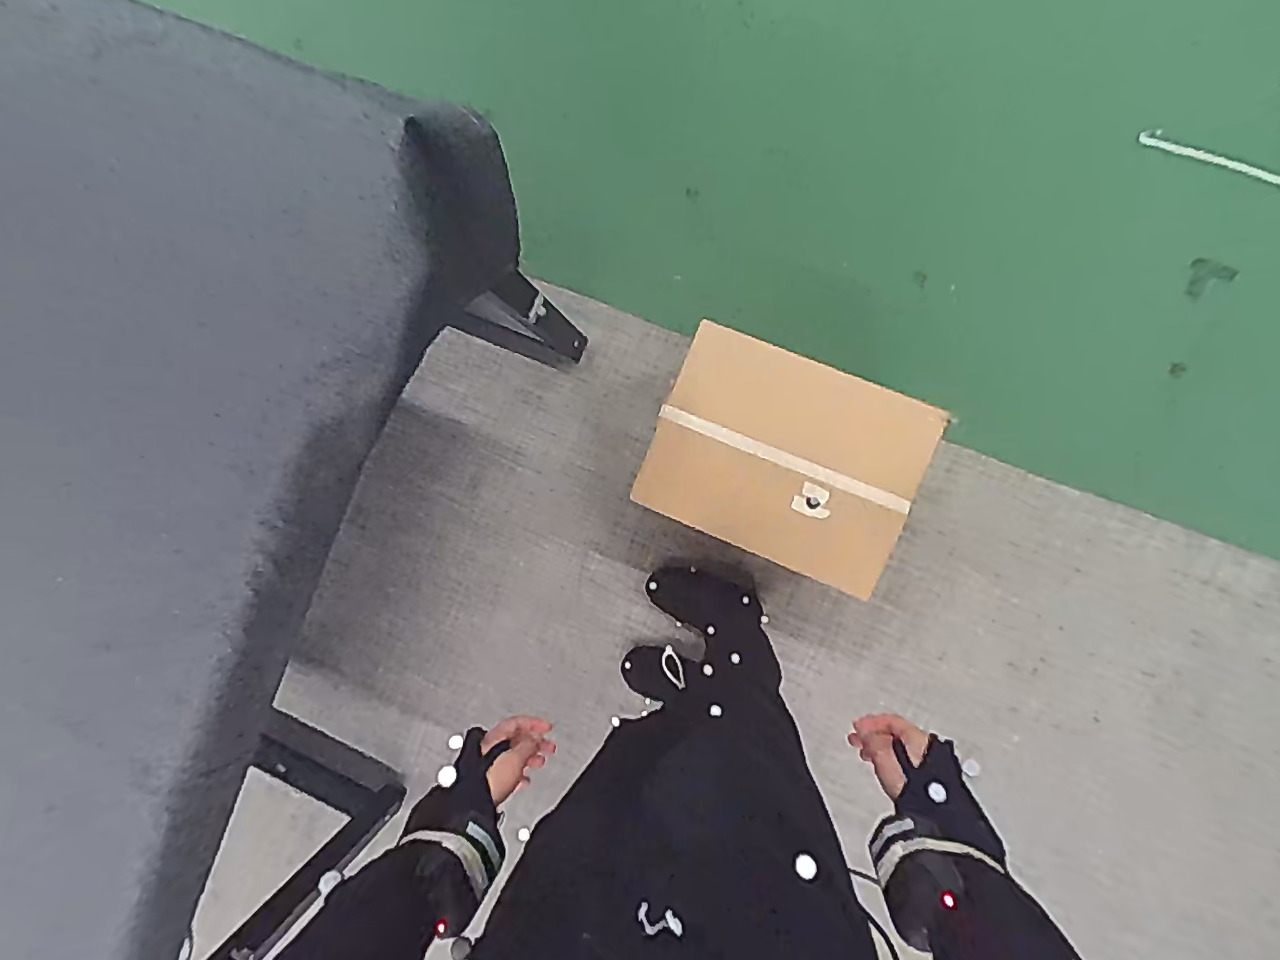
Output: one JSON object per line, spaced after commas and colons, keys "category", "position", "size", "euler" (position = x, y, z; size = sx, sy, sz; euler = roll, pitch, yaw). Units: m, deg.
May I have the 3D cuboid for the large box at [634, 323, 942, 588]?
{"category": "large box", "position": [0.240, -0.042, 0.997], "size": [0.408, 0.320, 0.320], "euler": [22, 93, 6]}
